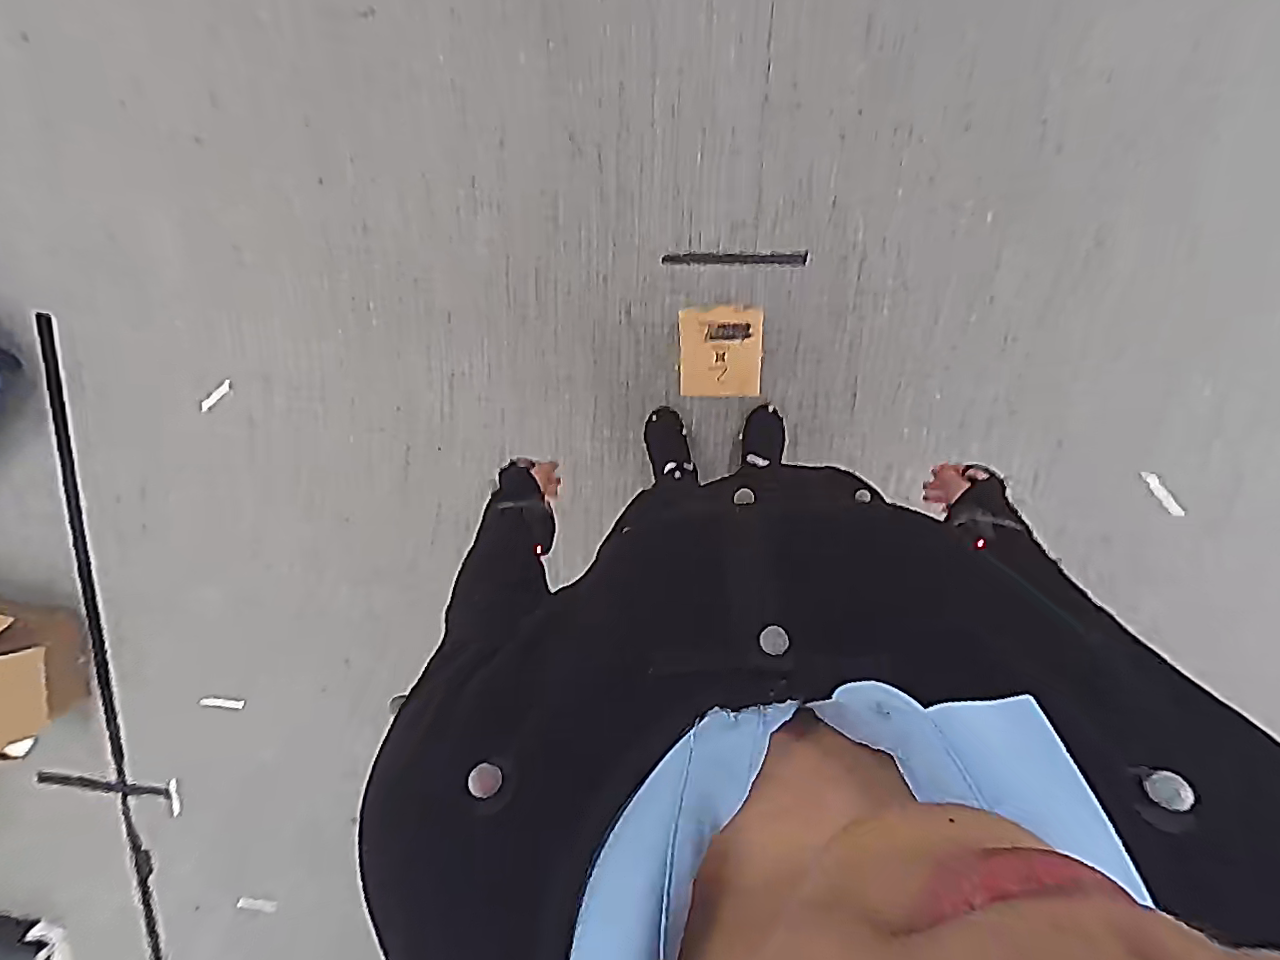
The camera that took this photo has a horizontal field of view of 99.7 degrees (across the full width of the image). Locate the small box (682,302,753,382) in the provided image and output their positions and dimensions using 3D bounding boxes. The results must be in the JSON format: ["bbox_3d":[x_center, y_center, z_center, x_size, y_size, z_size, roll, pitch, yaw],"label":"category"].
[{"bbox_3d":[0.187,-0.335,1.335,0.168,0.176,0.179,-2,102,6],"label":"small box"}]
